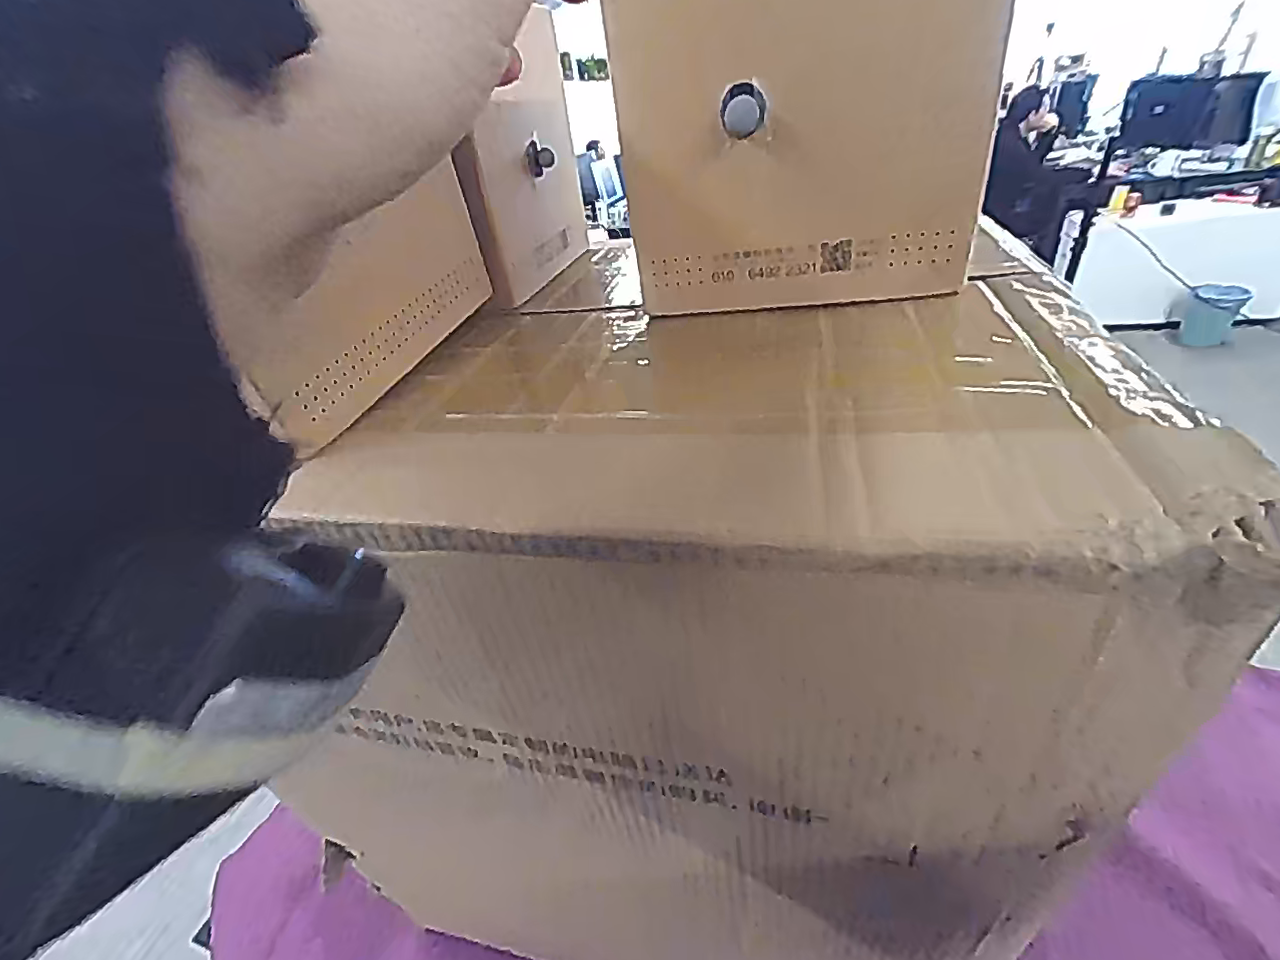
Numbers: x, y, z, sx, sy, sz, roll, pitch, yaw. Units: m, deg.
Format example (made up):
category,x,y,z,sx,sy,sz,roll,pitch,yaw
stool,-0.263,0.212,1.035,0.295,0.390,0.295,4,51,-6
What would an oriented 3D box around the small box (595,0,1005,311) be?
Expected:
category,x,y,z,sx,sy,sz,roll,pitch,yaw
small box,0.089,-0.202,0.309,0.168,0.176,0.179,0,35,16
